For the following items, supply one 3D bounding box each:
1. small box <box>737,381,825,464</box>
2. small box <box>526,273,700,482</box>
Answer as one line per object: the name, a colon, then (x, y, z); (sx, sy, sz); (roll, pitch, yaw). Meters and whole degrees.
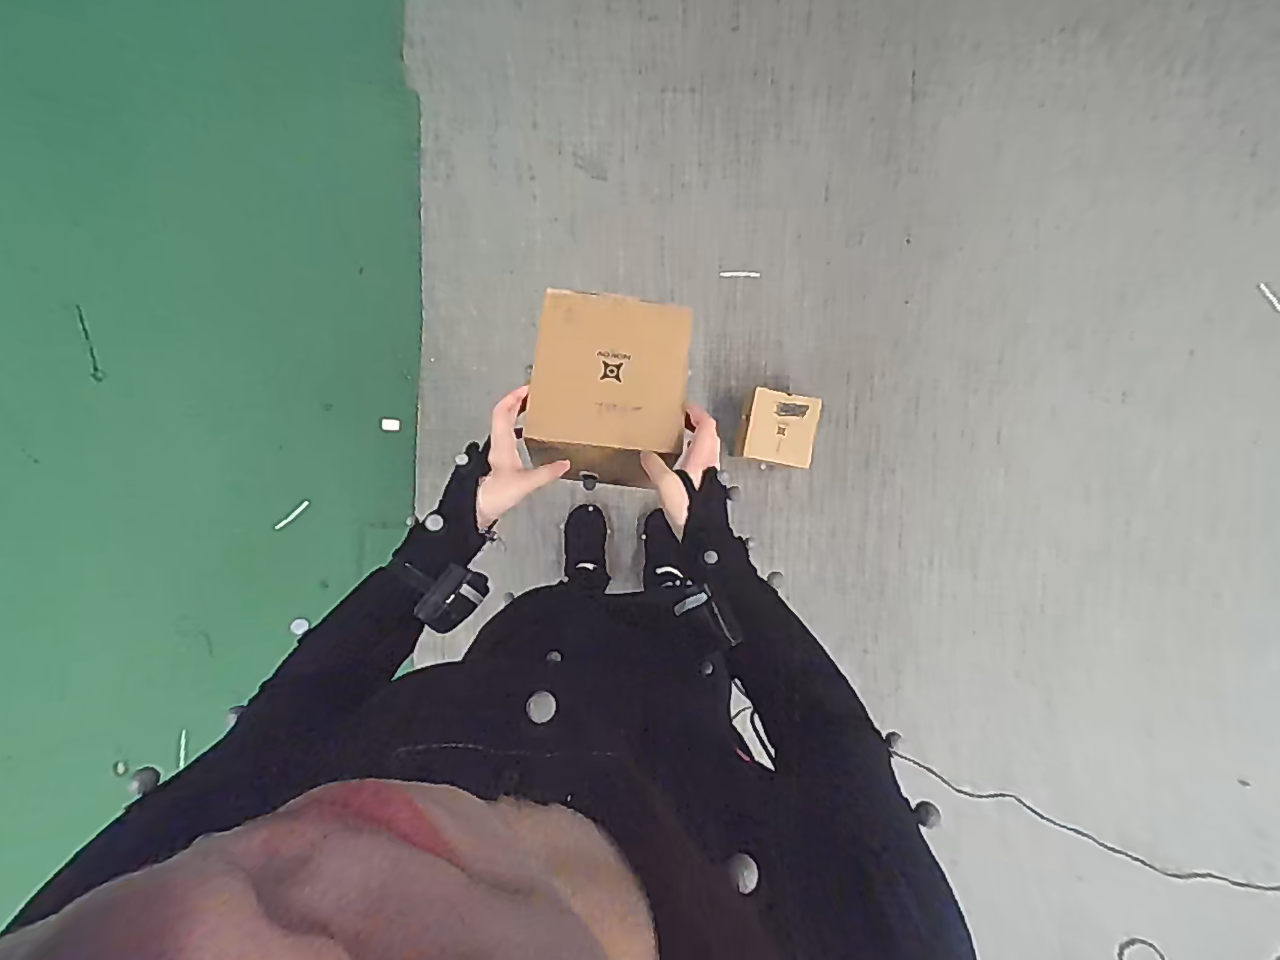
small box: (0.350, -0.141, 1.375); (0.168, 0.176, 0.179); (11, 92, 1)
small box: (-0.031, -0.107, 0.629); (0.168, 0.176, 0.179); (6, 76, -3)
